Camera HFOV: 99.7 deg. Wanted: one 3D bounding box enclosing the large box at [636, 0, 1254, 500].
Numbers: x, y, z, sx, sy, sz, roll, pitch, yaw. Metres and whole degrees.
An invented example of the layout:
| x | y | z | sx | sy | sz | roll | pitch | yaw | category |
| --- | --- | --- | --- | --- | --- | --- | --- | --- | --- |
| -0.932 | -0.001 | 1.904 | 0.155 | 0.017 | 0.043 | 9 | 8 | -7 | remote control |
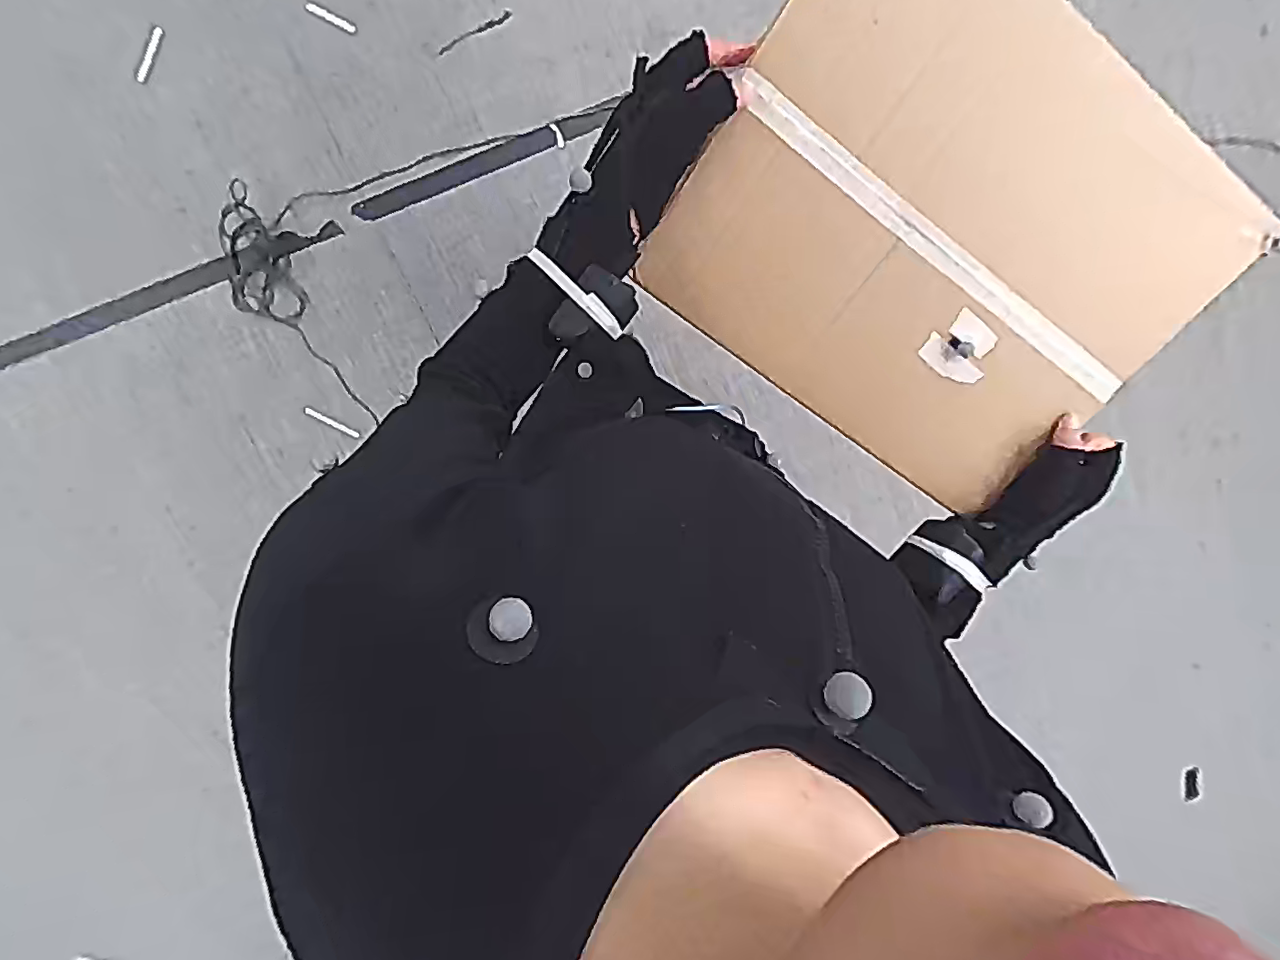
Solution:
| x | y | z | sx | sy | sz | roll | pitch | yaw | category |
| --- | --- | --- | --- | --- | --- | --- | --- | --- | --- |
| 0.244 | -0.253 | 0.577 | 0.408 | 0.320 | 0.320 | 32 | 112 | -12 | large box |
